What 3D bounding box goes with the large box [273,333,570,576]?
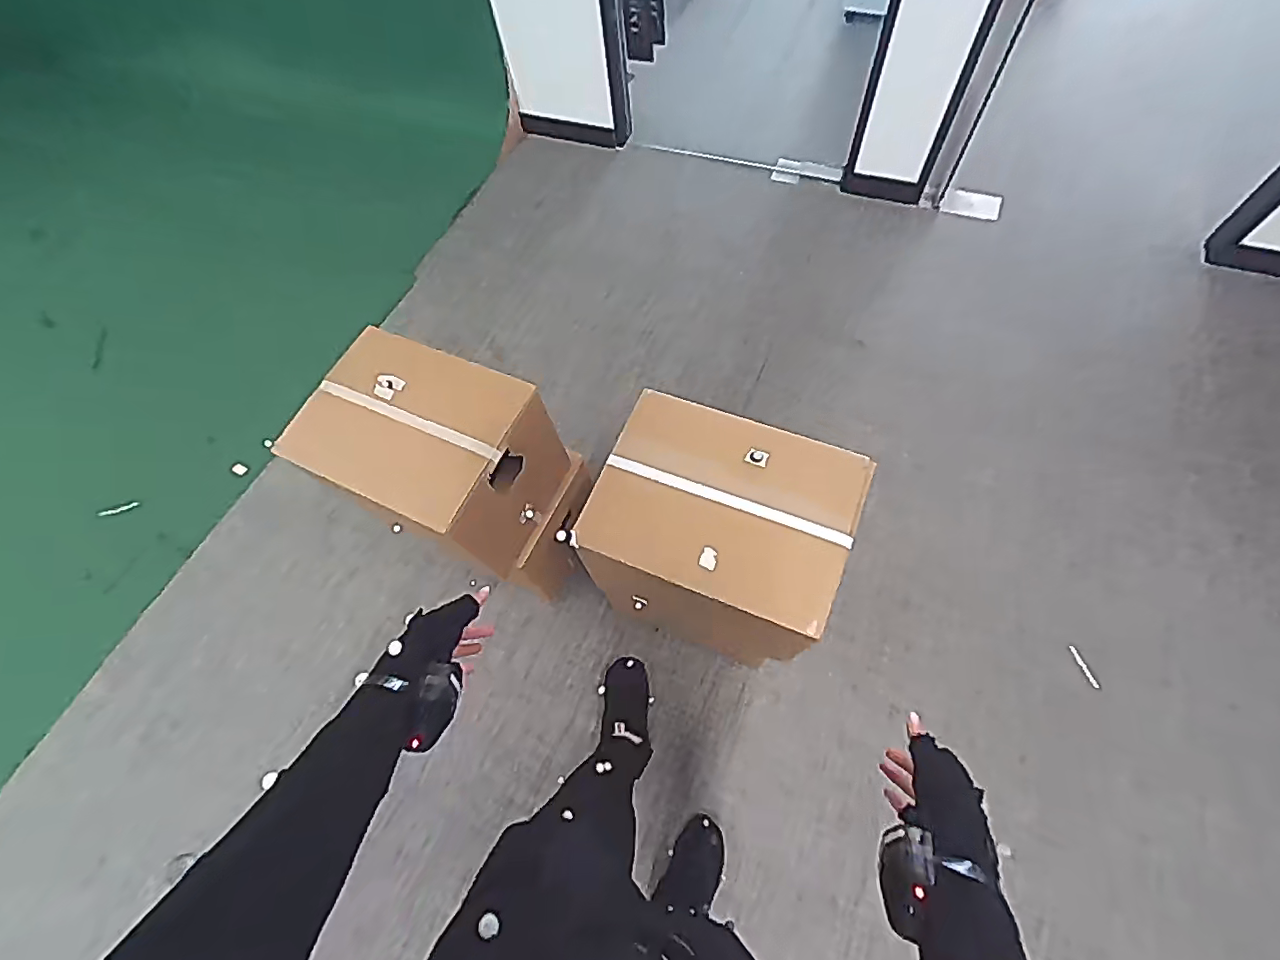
[{"bbox_3d":[-0.415,-0.042,1.119,0.408,0.320,0.320,22,70,17],"label":"large box"}]
